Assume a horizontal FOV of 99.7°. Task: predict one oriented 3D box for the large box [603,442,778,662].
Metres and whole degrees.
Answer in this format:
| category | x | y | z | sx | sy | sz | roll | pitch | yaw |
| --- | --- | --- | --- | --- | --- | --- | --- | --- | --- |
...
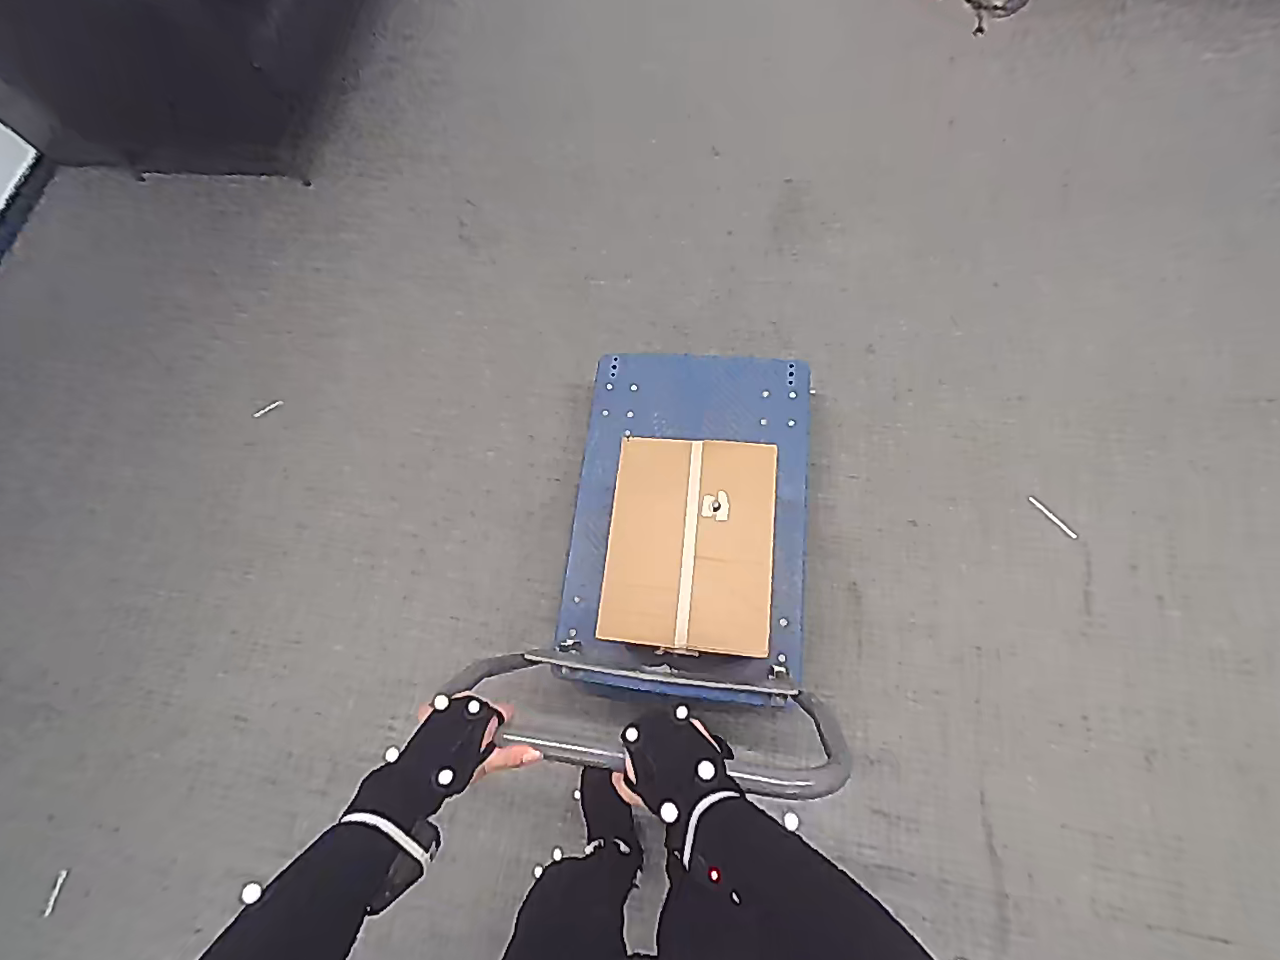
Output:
| category | x | y | z | sx | sy | sz | roll | pitch | yaw |
| --- | --- | --- | --- | --- | --- | --- | --- | --- | --- |
| large box | 0.121 | 0.167 | 1.157 | 0.320 | 0.320 | 0.408 | 4 | 71 | 9 |
